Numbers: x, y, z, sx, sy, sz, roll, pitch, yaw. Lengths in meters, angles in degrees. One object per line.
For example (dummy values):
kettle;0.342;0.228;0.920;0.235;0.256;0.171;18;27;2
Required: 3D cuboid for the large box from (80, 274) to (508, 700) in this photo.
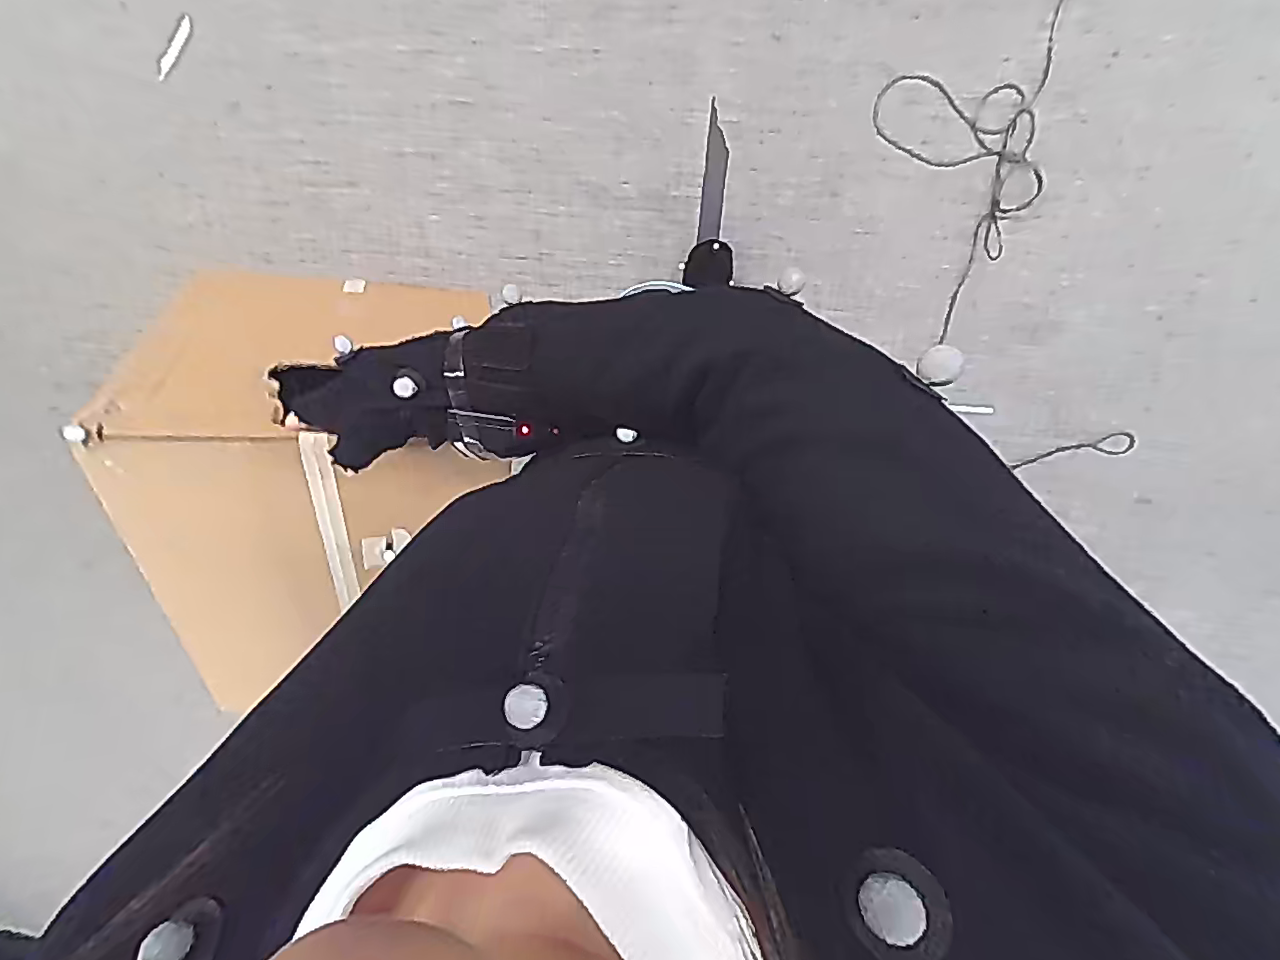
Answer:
large box;-0.337;0.007;0.670;0.320;0.320;0.408;-3;130;-19
